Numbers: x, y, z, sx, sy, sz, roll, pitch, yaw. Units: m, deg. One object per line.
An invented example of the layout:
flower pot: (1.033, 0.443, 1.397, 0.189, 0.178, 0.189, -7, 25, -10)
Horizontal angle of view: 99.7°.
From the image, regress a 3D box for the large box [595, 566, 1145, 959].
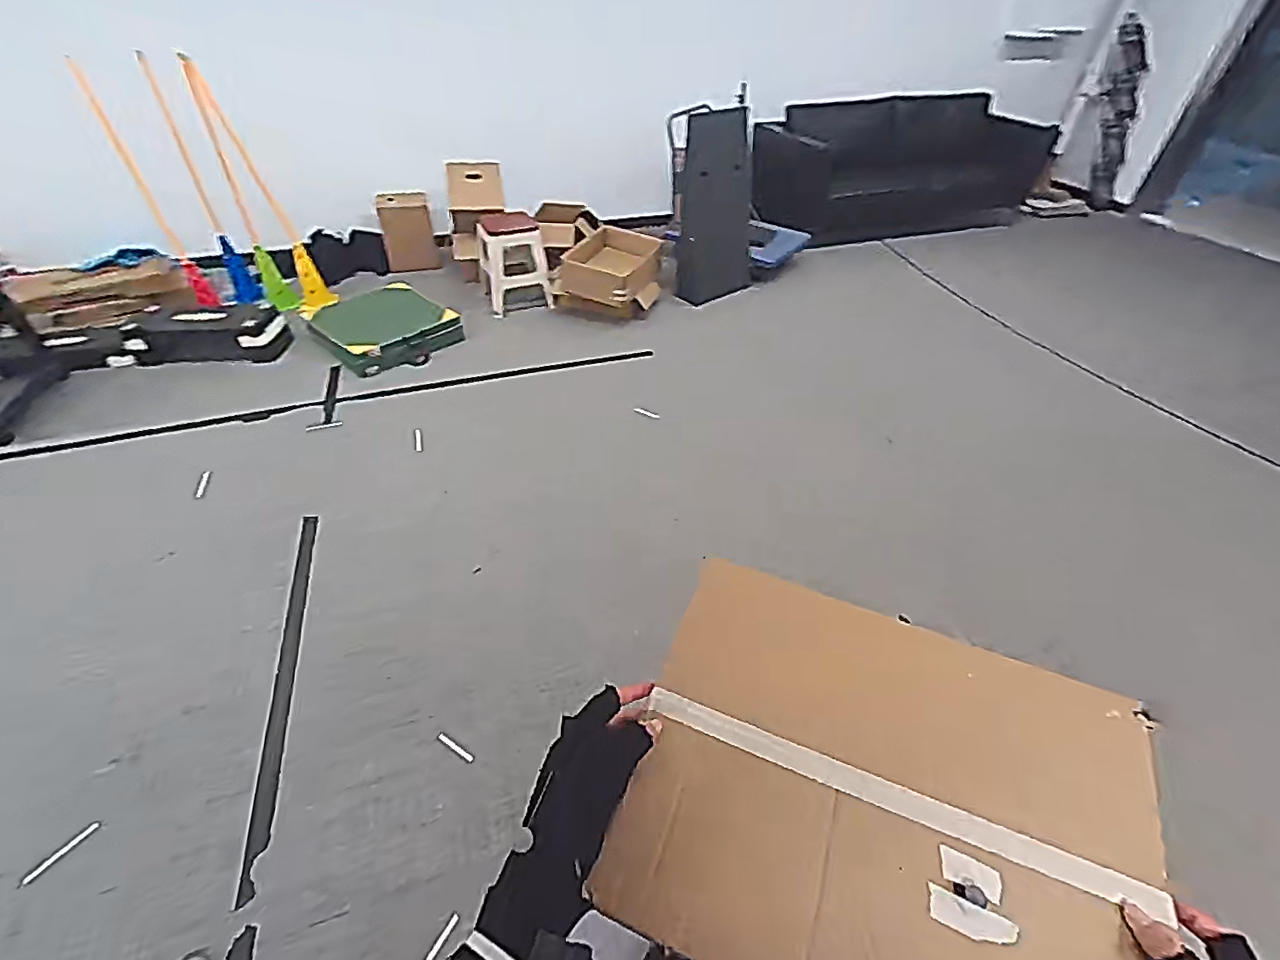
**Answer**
large box: (0.200, 0.348, 0.584, 0.408, 0.320, 0.320, 17, 57, 13)
